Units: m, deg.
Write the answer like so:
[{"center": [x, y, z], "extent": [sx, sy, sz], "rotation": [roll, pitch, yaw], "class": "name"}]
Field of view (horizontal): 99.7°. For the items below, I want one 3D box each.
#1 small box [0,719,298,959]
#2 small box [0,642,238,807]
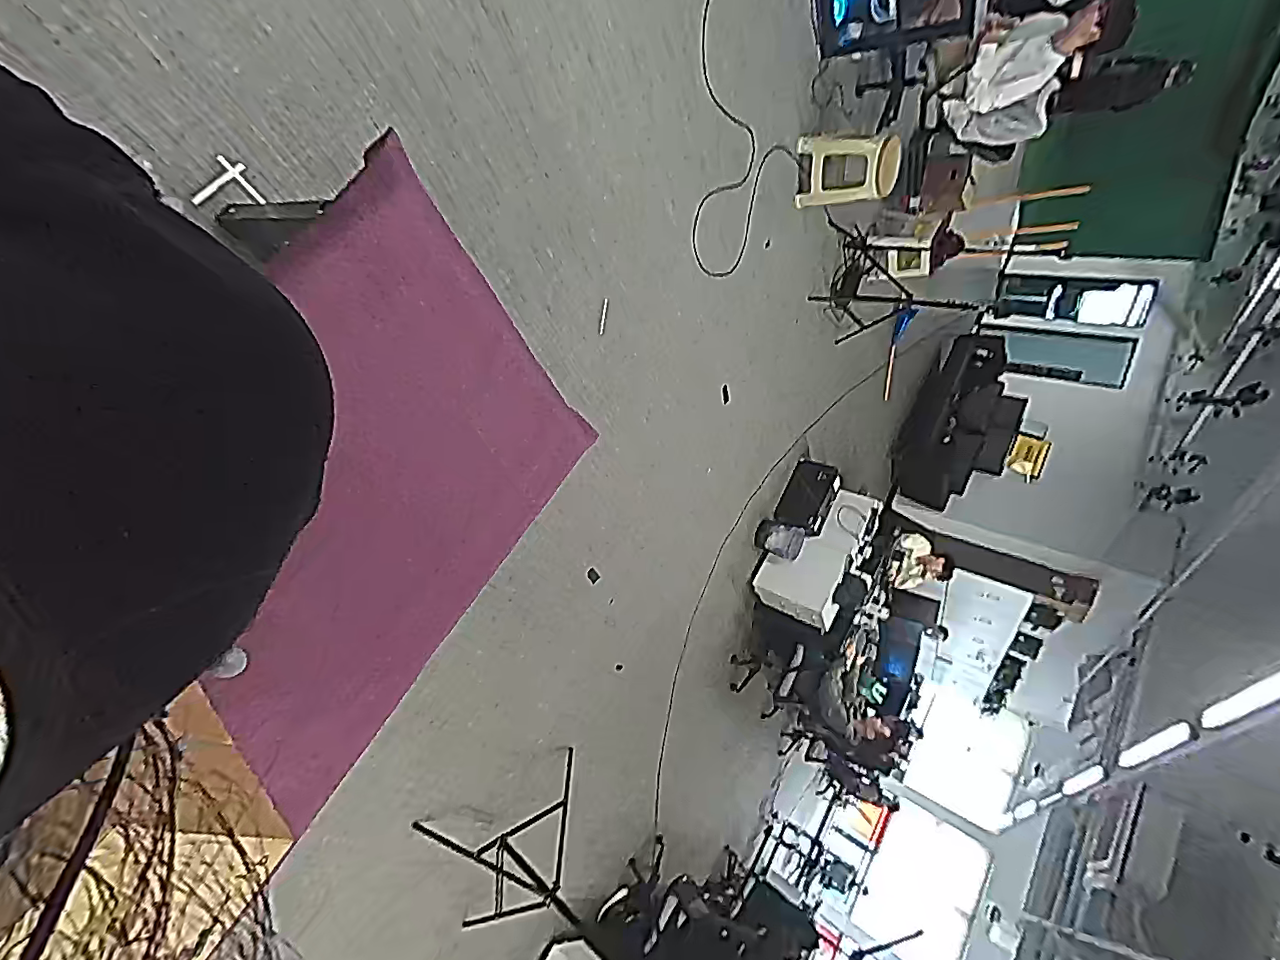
[{"center": [-0.482, 0.352, 0.505], "extent": [0.168, 0.176, 0.179], "rotation": [-55, 143, -21], "class": "small box"}, {"center": [-0.611, 0.303, 0.594], "extent": [0.168, 0.176, 0.179], "rotation": [-56, 144, -20], "class": "small box"}]
